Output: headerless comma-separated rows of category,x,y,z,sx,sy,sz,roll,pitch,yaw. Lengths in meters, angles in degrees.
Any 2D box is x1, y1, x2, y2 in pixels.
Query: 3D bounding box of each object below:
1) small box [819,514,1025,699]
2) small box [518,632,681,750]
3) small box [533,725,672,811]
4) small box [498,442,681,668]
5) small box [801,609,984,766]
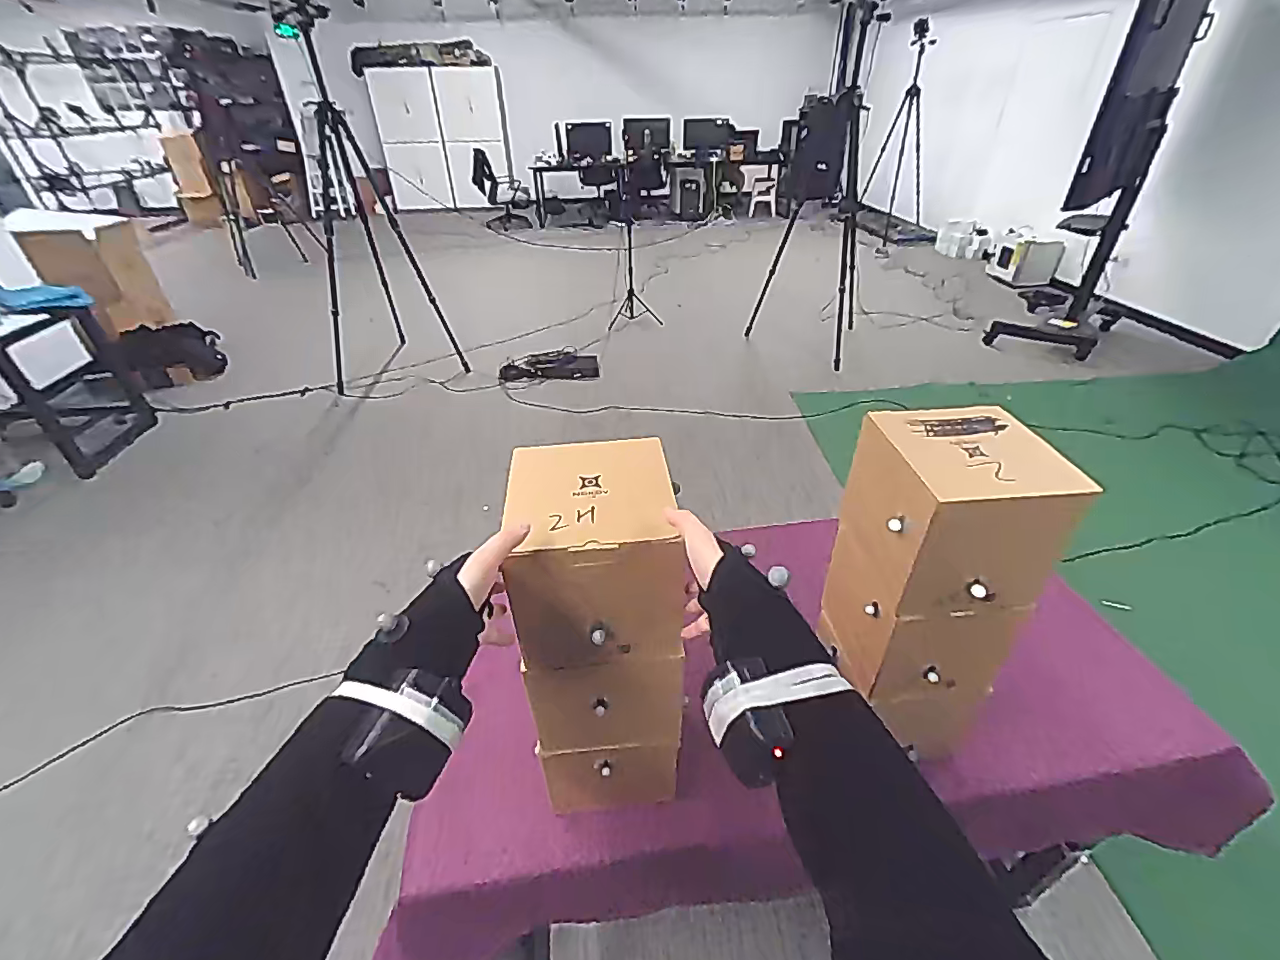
small box,0.360,0.168,0.736,0.168,0.176,0.179,-4,37,-4
small box,-0.047,0.215,0.683,0.179,0.176,0.168,-5,36,-3
small box,-0.050,0.350,0.776,0.179,0.176,0.168,-3,36,-4
small box,-0.051,0.077,0.592,0.168,0.176,0.179,-5,37,-4
small box,0.366,0.307,0.822,0.179,0.176,0.168,-4,35,-5
